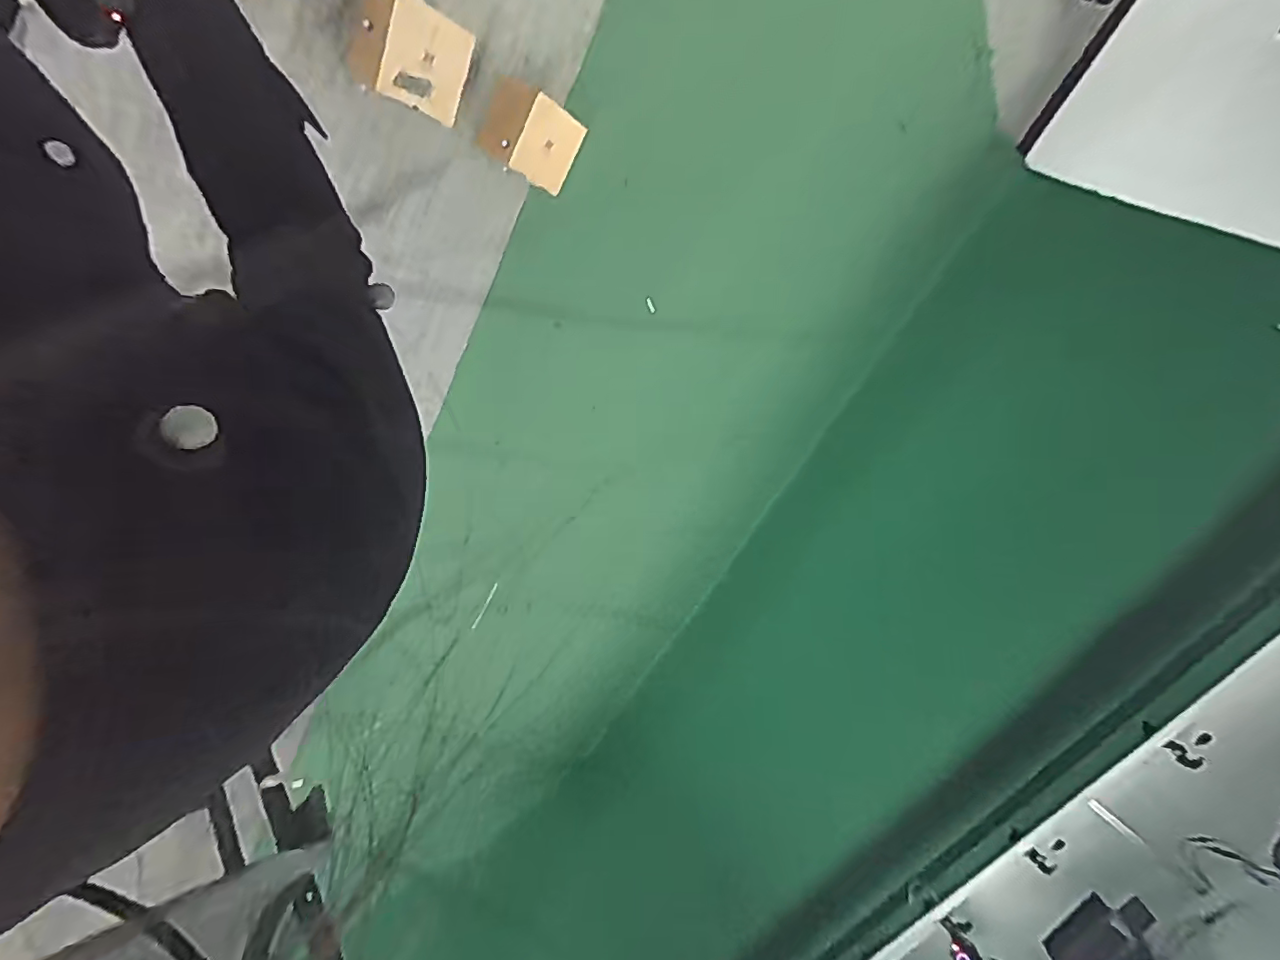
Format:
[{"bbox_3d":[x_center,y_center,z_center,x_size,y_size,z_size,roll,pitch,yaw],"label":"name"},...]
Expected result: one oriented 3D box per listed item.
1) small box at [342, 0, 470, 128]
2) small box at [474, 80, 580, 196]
[{"bbox_3d":[-0.483,-0.868,1.103,0.168,0.176,0.179,-4,129,-51],"label":"small box"},{"bbox_3d":[-0.291,-0.863,1.364,0.168,0.176,0.179,4,123,-53],"label":"small box"}]
